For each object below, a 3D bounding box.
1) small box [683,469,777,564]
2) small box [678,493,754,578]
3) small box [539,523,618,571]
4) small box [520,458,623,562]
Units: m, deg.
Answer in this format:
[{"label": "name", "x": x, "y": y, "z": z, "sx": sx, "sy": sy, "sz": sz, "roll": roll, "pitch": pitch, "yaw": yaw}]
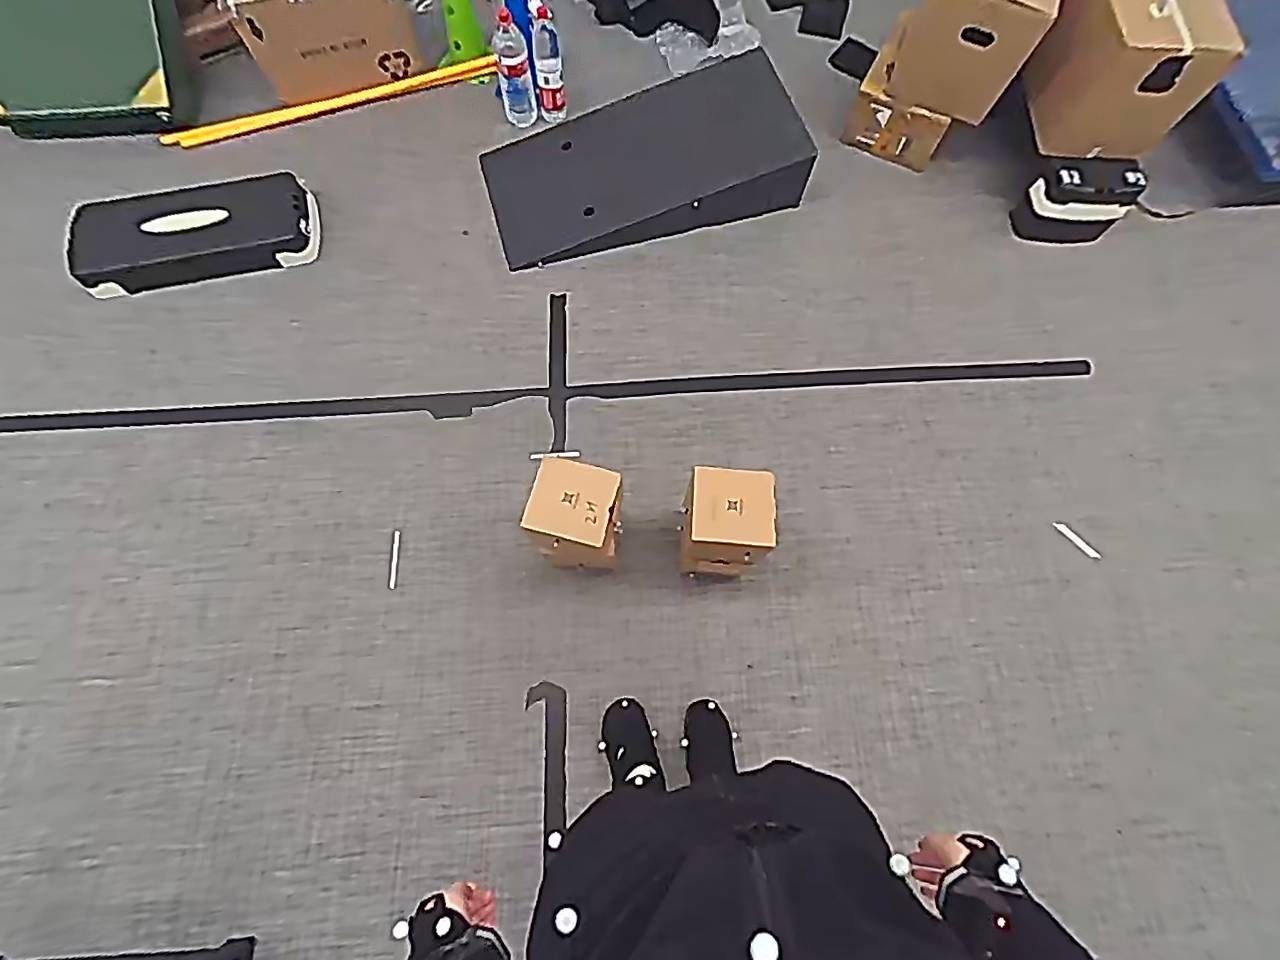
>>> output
[{"label": "small box", "x": 0.194, "y": 0.087, "z": 1.194, "sx": 0.179, "sy": 0.176, "sz": 0.168, "roll": 5, "pitch": 70, "yaw": 0}, {"label": "small box", "x": 0.187, "y": 0.144, "z": 1.347, "sx": 0.168, "sy": 0.176, "sz": 0.179, "roll": 4, "pitch": 70, "yaw": -1}, {"label": "small box", "x": -0.145, "y": 0.129, "z": 1.341, "sx": 0.179, "sy": 0.176, "sz": 0.168, "roll": 3, "pitch": 71, "yaw": -2}, {"label": "small box", "x": -0.142, "y": 0.072, "z": 1.185, "sx": 0.179, "sy": 0.176, "sz": 0.168, "roll": 15, "pitch": 72, "yaw": 4}]
